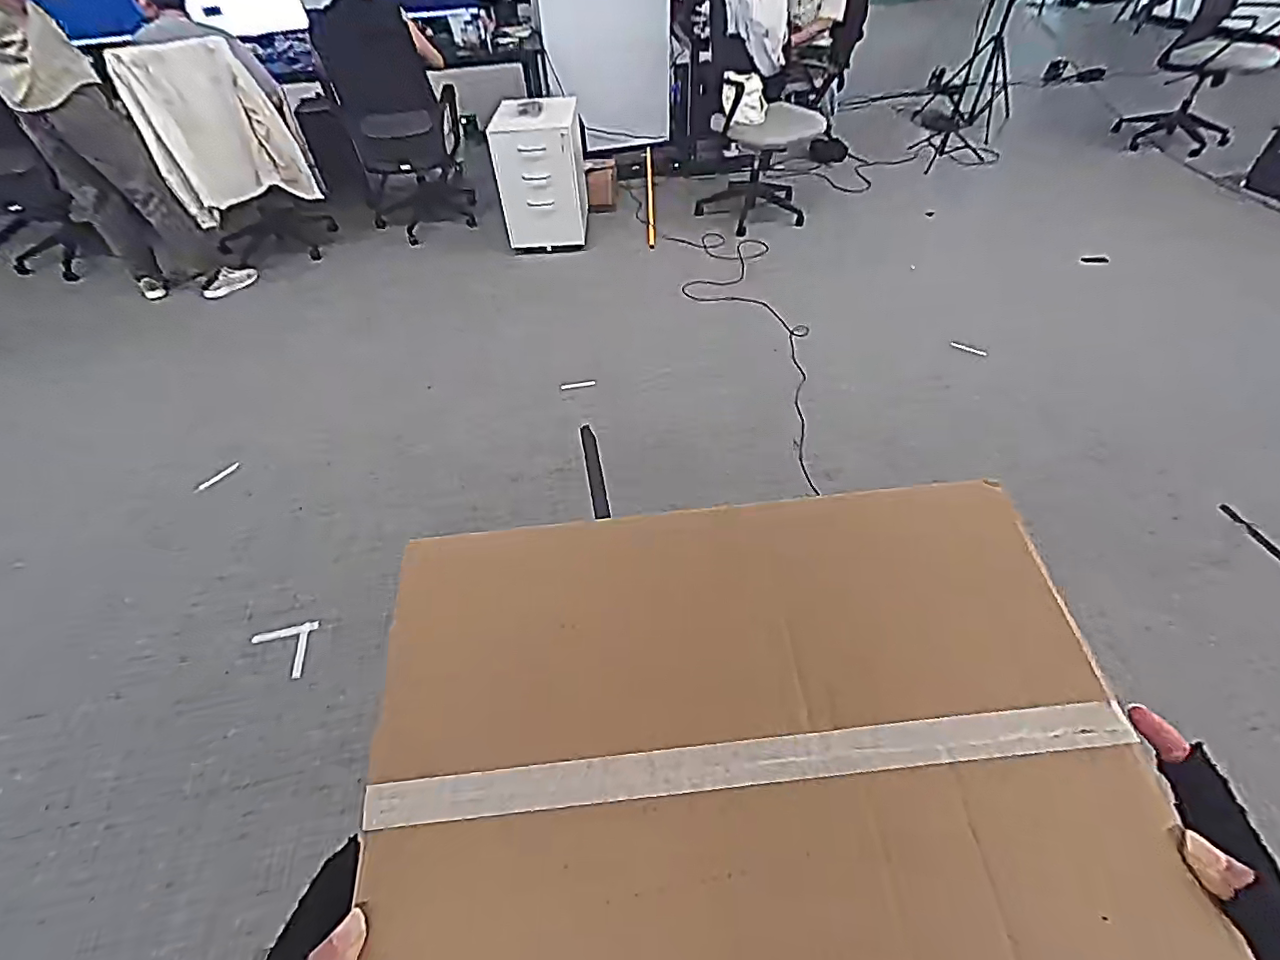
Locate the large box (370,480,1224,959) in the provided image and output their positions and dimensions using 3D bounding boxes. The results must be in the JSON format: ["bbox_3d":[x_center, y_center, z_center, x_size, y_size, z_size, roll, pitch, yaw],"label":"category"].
[{"bbox_3d":[0.065,0.230,0.427,0.408,0.320,0.320,-6,59,-1],"label":"large box"}]
